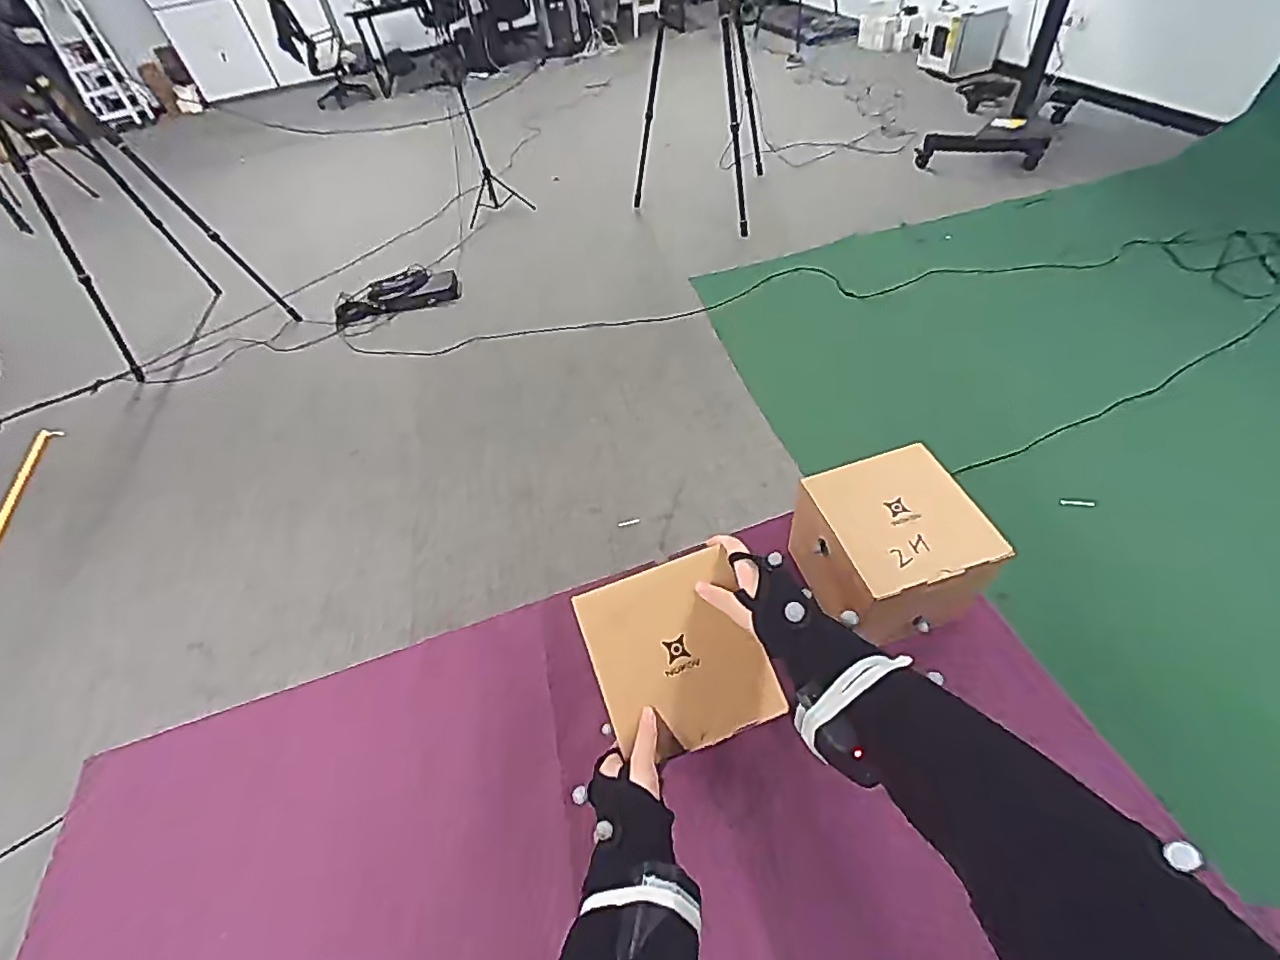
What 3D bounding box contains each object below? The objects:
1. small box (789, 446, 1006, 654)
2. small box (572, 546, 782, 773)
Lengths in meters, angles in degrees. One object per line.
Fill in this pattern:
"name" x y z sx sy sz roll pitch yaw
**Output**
"small box" 0.303 0.091 0.687 0.168 0.176 0.179 -17 52 -4
"small box" 0.033 0.189 0.610 0.168 0.176 0.179 -20 79 -4
